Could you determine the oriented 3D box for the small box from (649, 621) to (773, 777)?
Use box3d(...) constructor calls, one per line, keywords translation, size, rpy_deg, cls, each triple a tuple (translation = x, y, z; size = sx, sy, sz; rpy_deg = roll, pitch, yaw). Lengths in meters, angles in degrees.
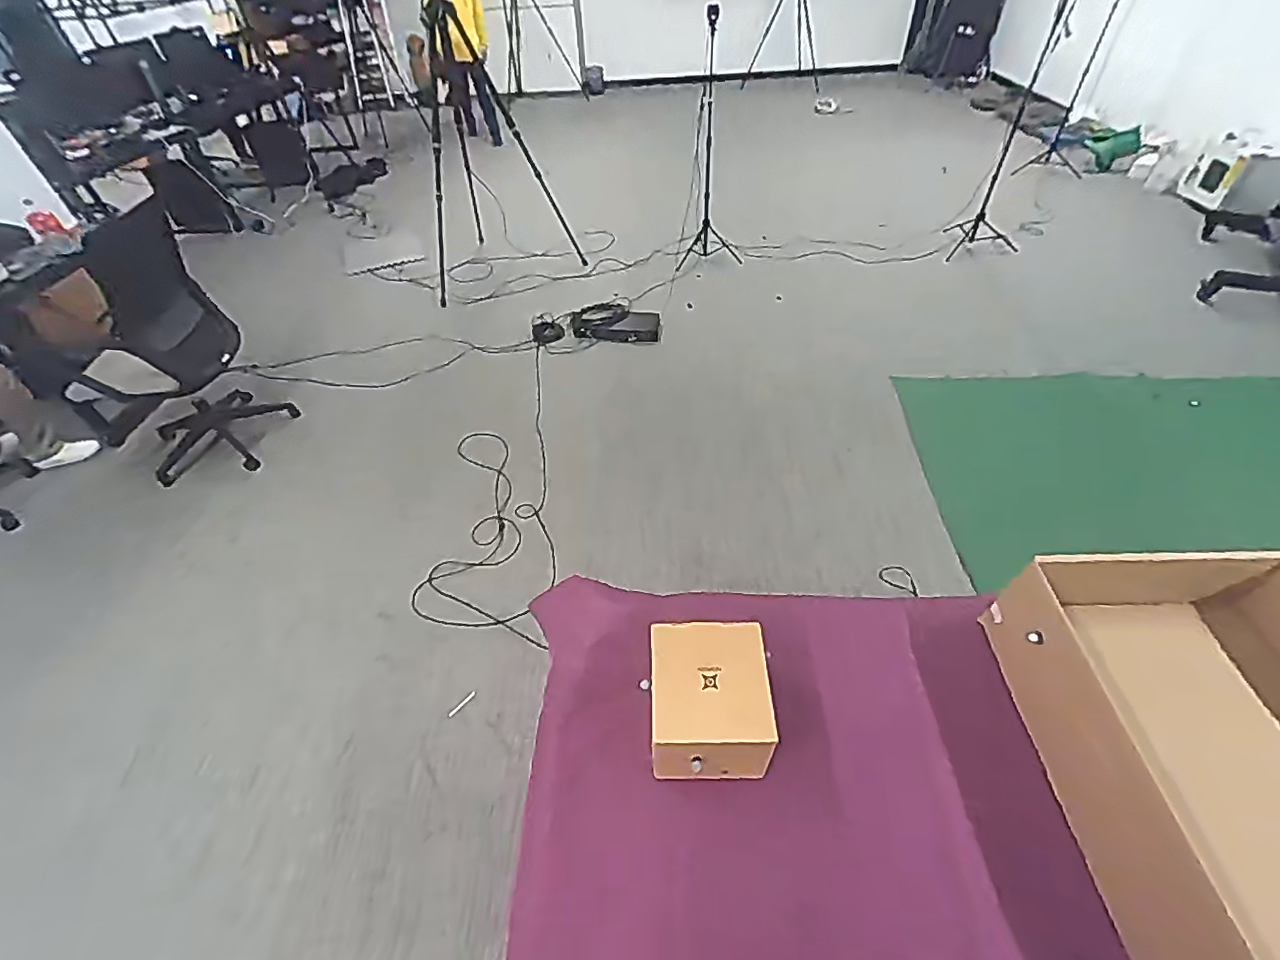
box3d(translation=(0.100, 0.335, 0.818), size=(0.168, 0.176, 0.179), rpy_deg=(-2, 45, 2), cls="small box")
